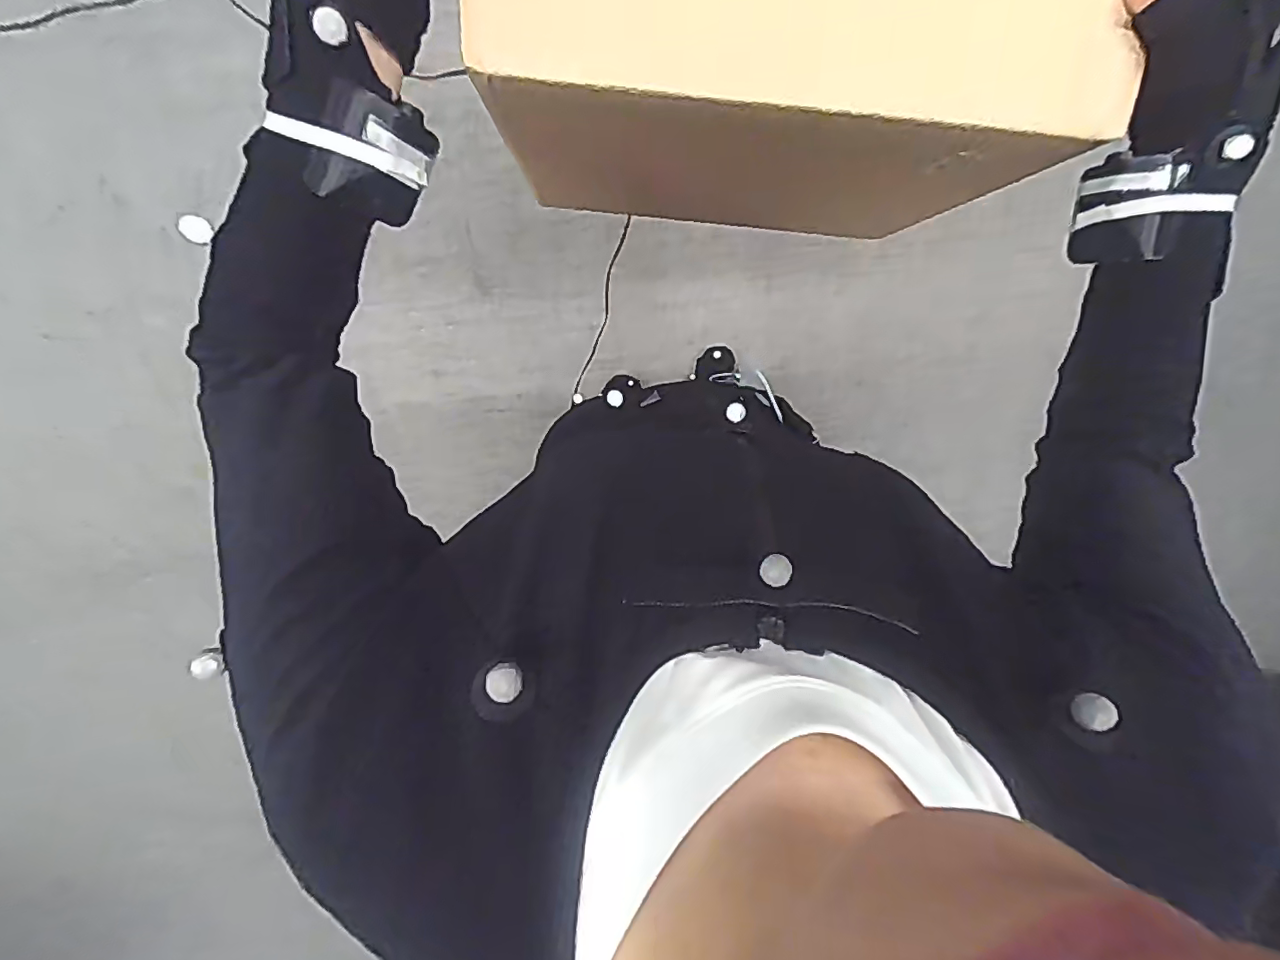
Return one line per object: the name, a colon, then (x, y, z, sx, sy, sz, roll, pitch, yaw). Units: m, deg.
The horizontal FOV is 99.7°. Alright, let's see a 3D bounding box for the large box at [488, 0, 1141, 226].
large box: (0.104, -0.418, 0.445, 0.408, 0.320, 0.320, 3, 104, -4)
